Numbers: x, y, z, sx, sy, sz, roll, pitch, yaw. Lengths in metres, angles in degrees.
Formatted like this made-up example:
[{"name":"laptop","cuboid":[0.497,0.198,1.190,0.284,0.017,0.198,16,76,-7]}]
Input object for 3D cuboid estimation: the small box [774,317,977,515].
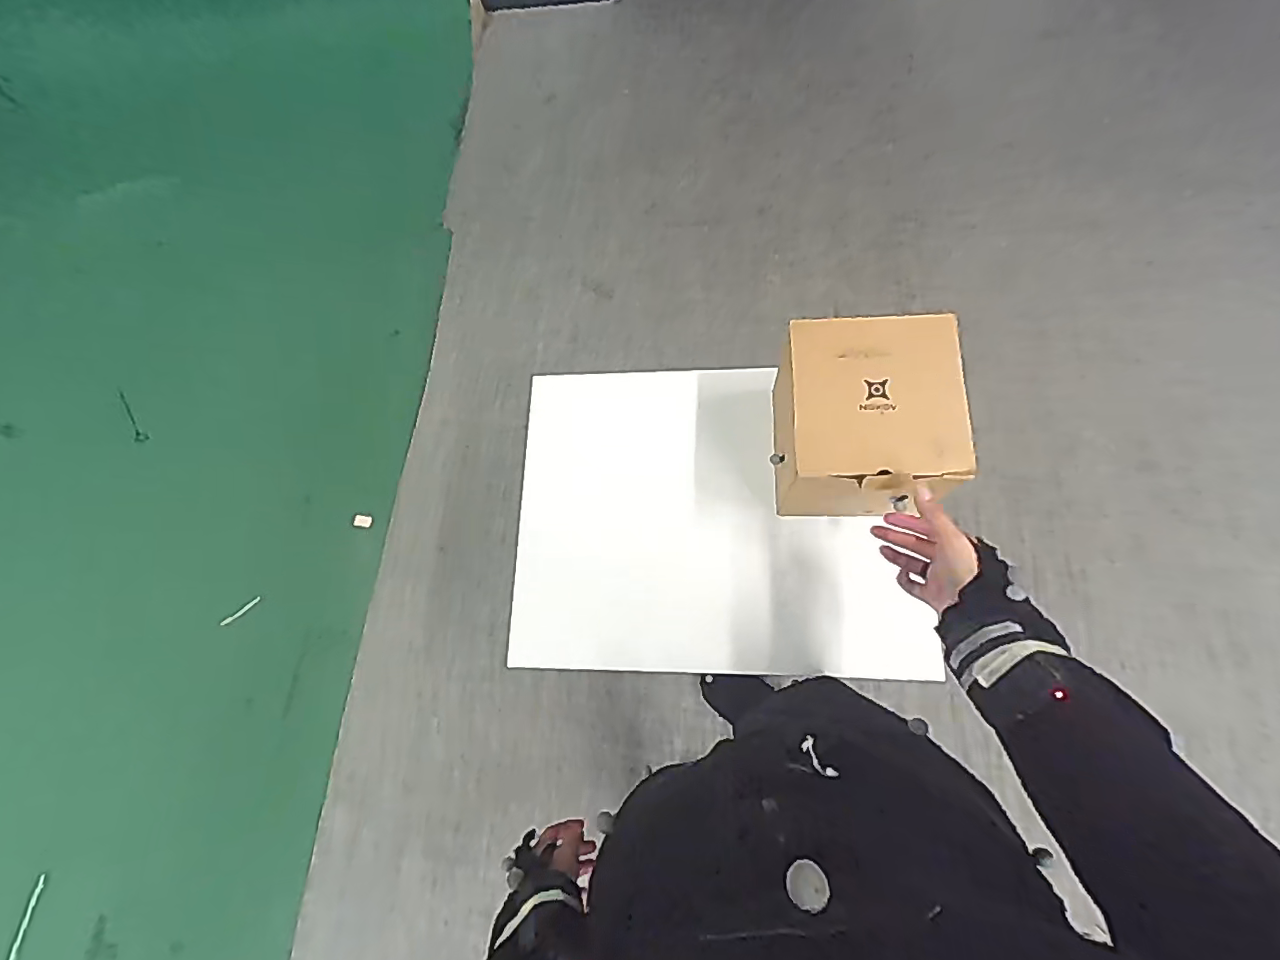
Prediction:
[{"name":"small box","cuboid":[0.245,-0.060,0.609,0.168,0.176,0.179,0,73,7]}]
